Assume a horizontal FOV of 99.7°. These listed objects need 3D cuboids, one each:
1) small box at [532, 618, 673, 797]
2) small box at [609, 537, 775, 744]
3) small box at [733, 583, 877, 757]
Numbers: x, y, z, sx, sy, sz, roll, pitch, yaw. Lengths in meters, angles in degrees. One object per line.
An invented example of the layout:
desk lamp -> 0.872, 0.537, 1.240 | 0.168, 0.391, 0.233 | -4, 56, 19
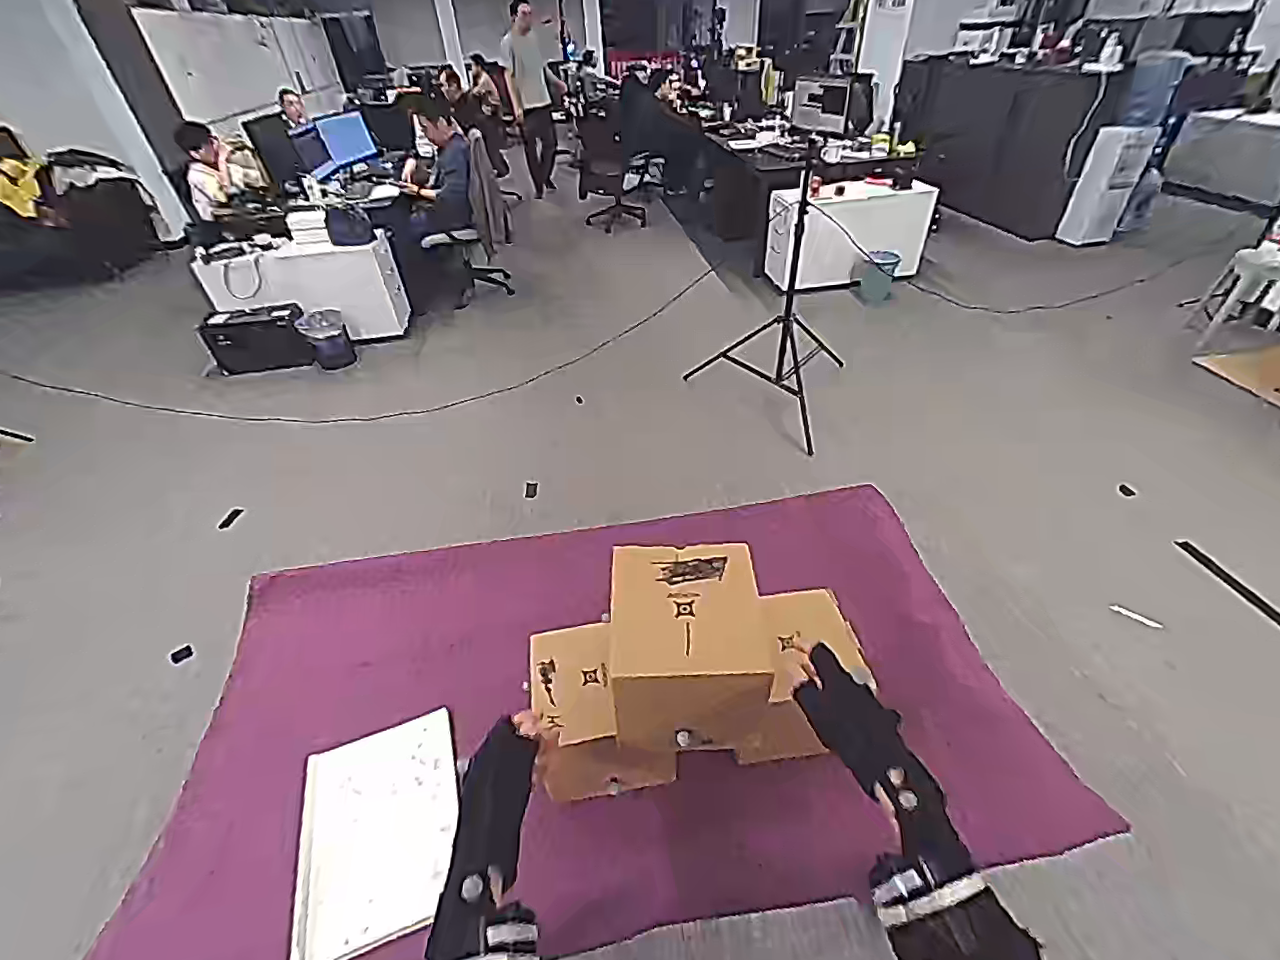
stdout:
small box -> -0.051, 0.313, 0.756 | 0.179, 0.176, 0.168 | -8, 39, -6
small box -> 0.053, 0.188, 0.640 | 0.168, 0.176, 0.179 | -2, 40, 1
small box -> 0.210, 0.274, 0.781 | 0.179, 0.176, 0.168 | -7, 39, -1
